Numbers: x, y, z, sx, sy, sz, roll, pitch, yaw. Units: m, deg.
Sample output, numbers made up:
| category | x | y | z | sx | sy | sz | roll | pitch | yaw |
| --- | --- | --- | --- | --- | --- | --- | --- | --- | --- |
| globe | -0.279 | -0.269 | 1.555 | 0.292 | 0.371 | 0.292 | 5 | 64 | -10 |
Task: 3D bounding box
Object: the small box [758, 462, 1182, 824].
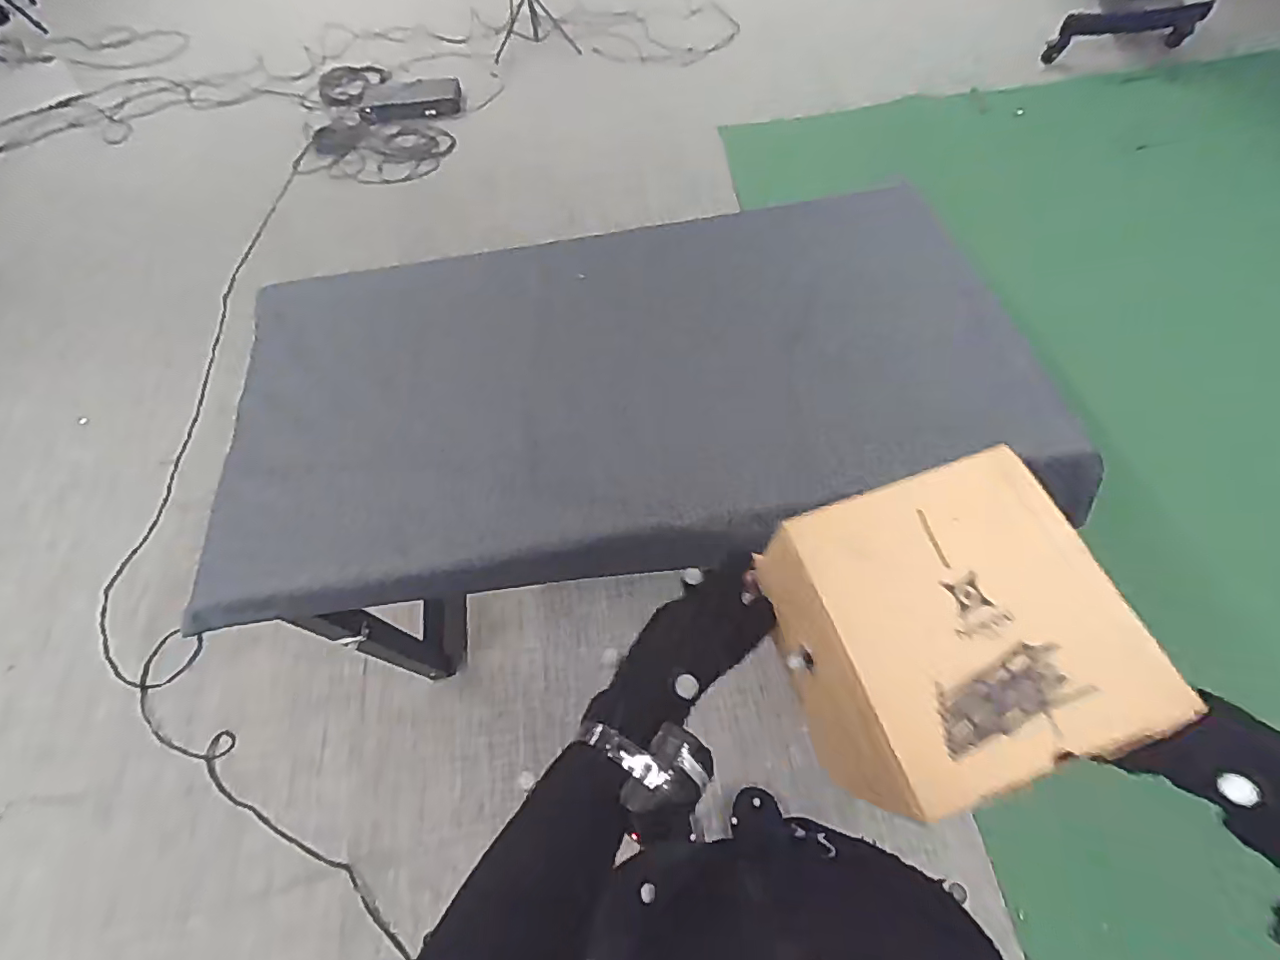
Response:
| category | x | y | z | sx | sy | sz | roll | pitch | yaw |
| --- | --- | --- | --- | --- | --- | --- | --- | --- | --- |
| small box | 0.202 | 0.117 | 0.398 | 0.168 | 0.176 | 0.179 | -17 | 65 | -5 |
